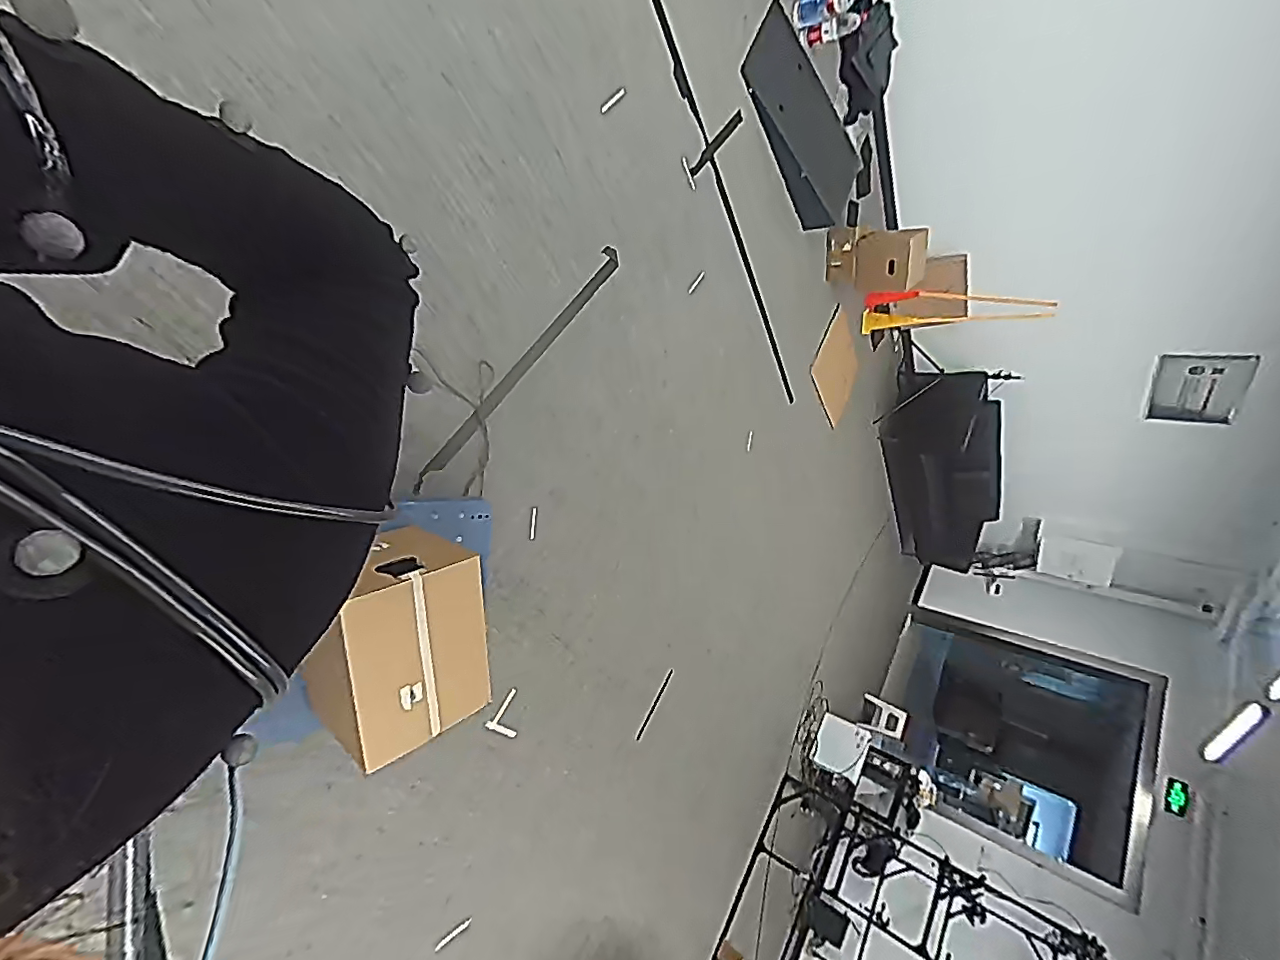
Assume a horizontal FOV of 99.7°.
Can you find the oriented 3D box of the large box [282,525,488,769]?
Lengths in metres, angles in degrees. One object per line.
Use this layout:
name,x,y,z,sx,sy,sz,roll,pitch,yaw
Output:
large box,-0.593,0.362,1.280,0.320,0.320,0.408,-17,113,-47
